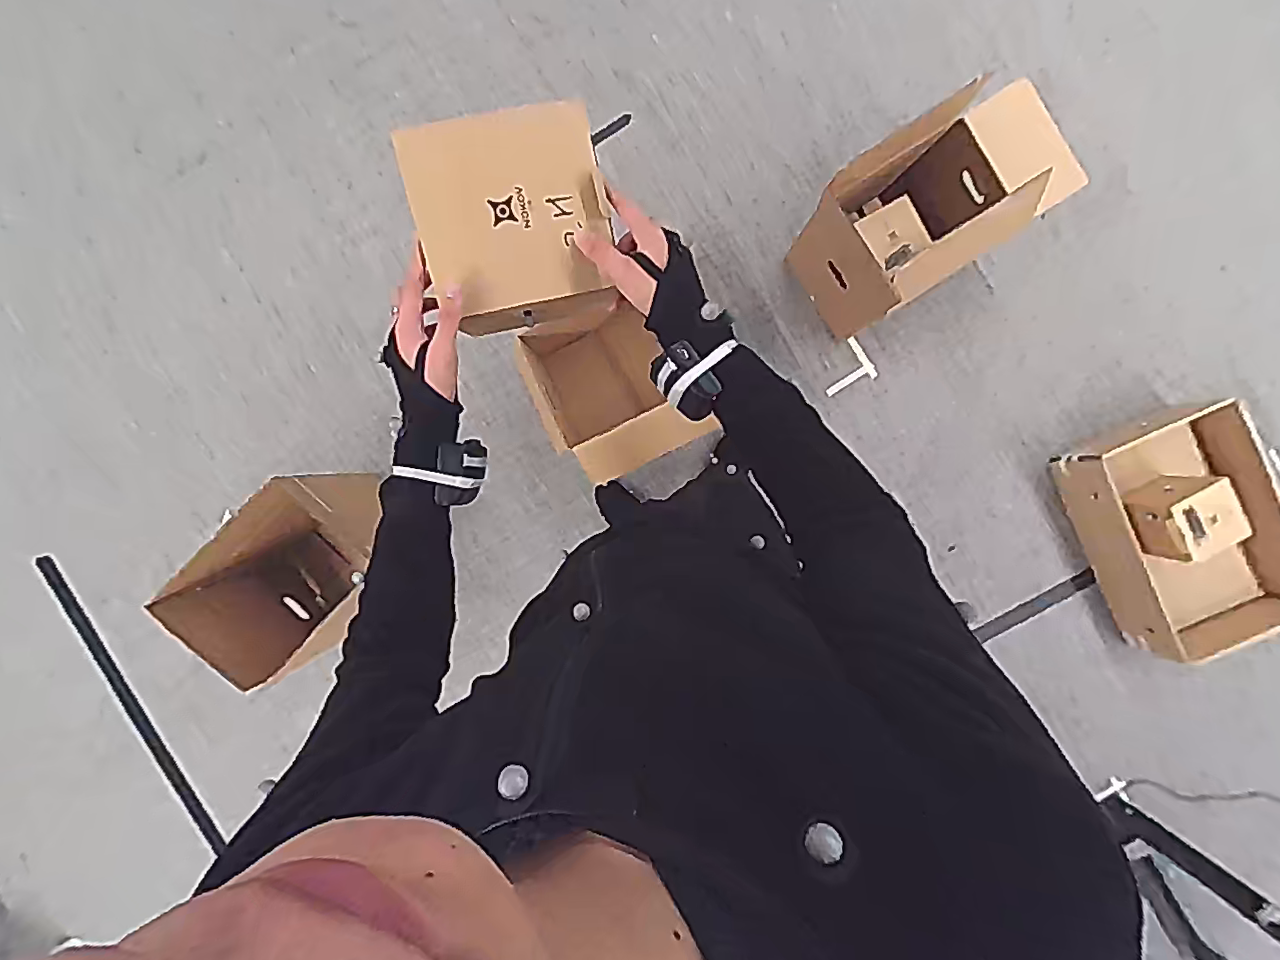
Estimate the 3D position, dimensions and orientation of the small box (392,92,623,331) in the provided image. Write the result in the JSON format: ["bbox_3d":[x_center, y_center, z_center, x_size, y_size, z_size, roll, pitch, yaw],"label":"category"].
[{"bbox_3d":[-0.124,-0.259,0.563,0.179,0.176,0.168,-13,102,-6],"label":"small box"}]
